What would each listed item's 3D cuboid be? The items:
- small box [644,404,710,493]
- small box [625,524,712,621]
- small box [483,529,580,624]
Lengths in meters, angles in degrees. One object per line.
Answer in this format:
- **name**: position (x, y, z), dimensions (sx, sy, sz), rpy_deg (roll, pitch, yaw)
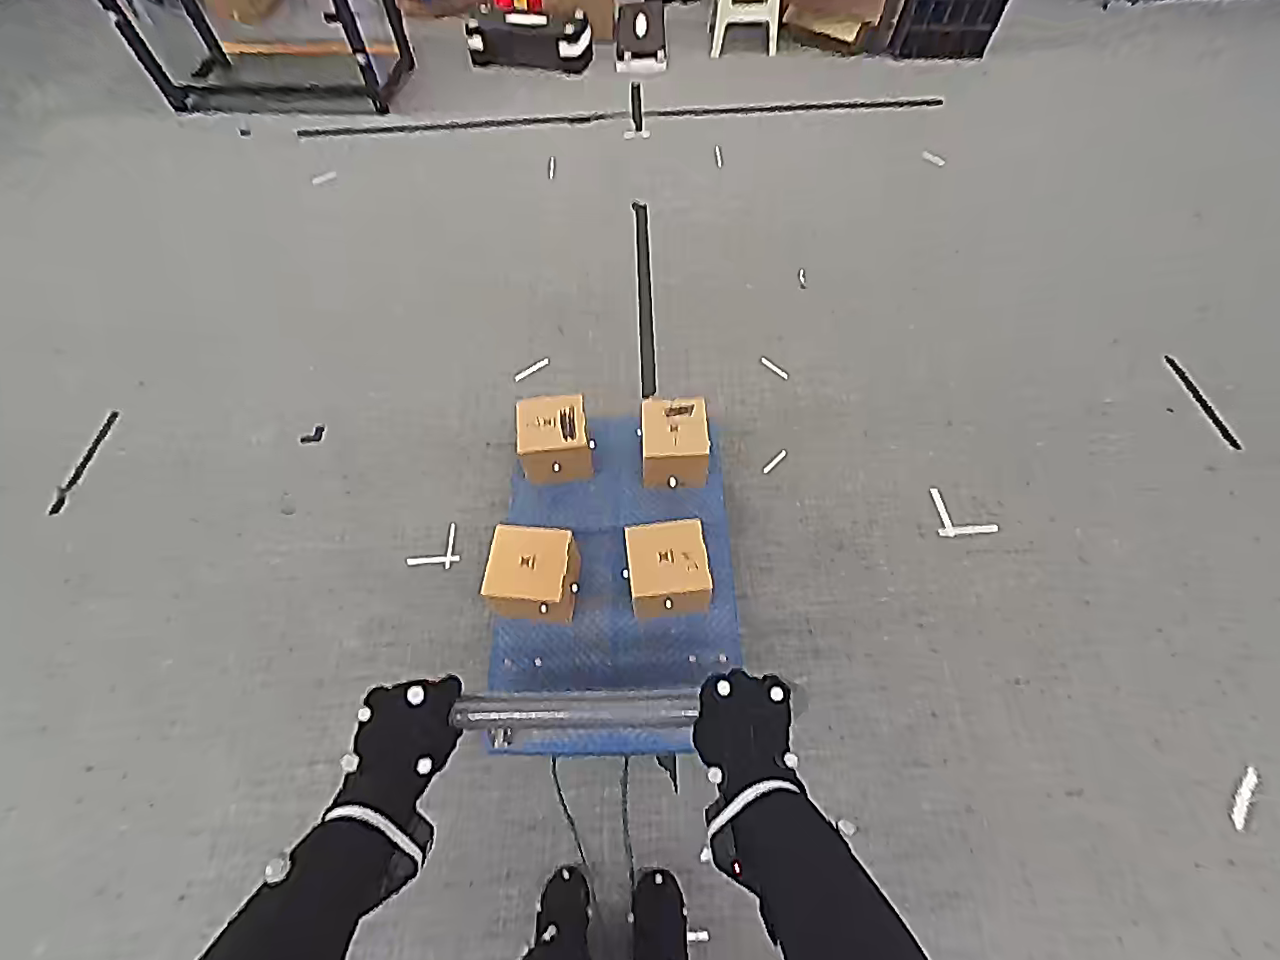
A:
- **small box**: position (0.093, -0.082, 1.435), dimensions (0.168, 0.176, 0.179), rpy_deg (-1, 60, 1)
- **small box**: position (0.064, 0.220, 1.256), dimensions (0.179, 0.176, 0.168), rpy_deg (-6, 59, -2)
- **small box**: position (-0.243, 0.229, 1.260), dimensions (0.179, 0.176, 0.168), rpy_deg (4, 59, 2)
